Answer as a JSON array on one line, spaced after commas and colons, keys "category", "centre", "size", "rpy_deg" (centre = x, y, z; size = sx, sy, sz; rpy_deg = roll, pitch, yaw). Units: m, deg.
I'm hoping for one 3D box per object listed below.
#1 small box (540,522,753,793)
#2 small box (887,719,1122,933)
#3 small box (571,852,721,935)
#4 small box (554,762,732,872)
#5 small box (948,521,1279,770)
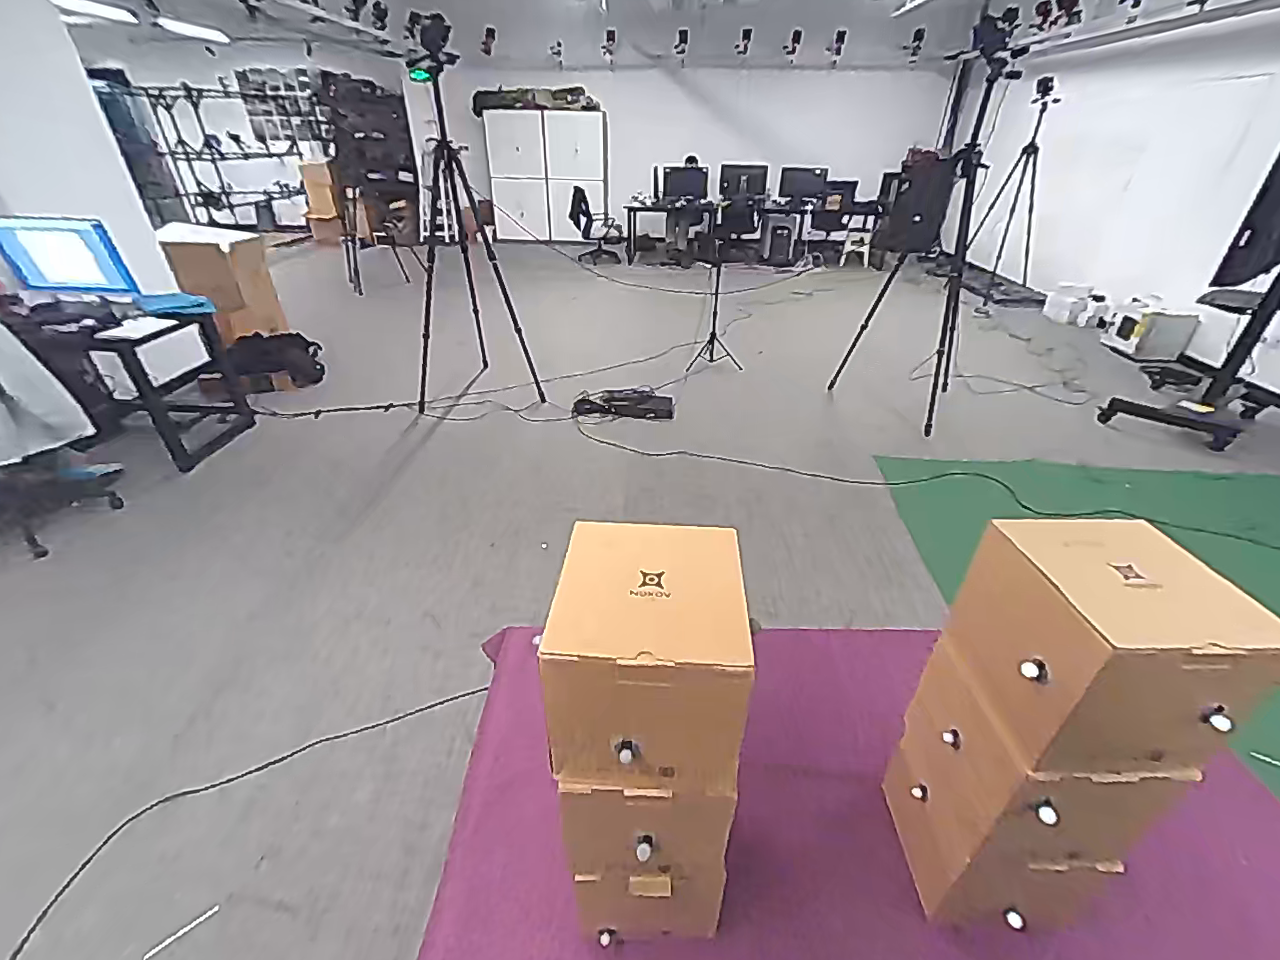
[{"category": "small box", "centre": [0.008, 0.162, 0.518], "size": [0.168, 0.176, 0.179], "rpy_deg": [3, 33, 3]}, {"category": "small box", "centre": [0.441, 0.439, 0.696], "size": [0.168, 0.176, 0.179], "rpy_deg": [1, 33, 2]}, {"category": "small box", "centre": [0.008, 0.443, 0.686], "size": [0.168, 0.176, 0.179], "rpy_deg": [0, 31, -1]}, {"category": "small box", "centre": [0.006, 0.304, 0.600], "size": [0.168, 0.176, 0.179], "rpy_deg": [1, 33, 1]}, {"category": "small box", "centre": [0.441, 0.157, 0.528], "size": [0.168, 0.176, 0.179], "rpy_deg": [1, 32, -1]}]
